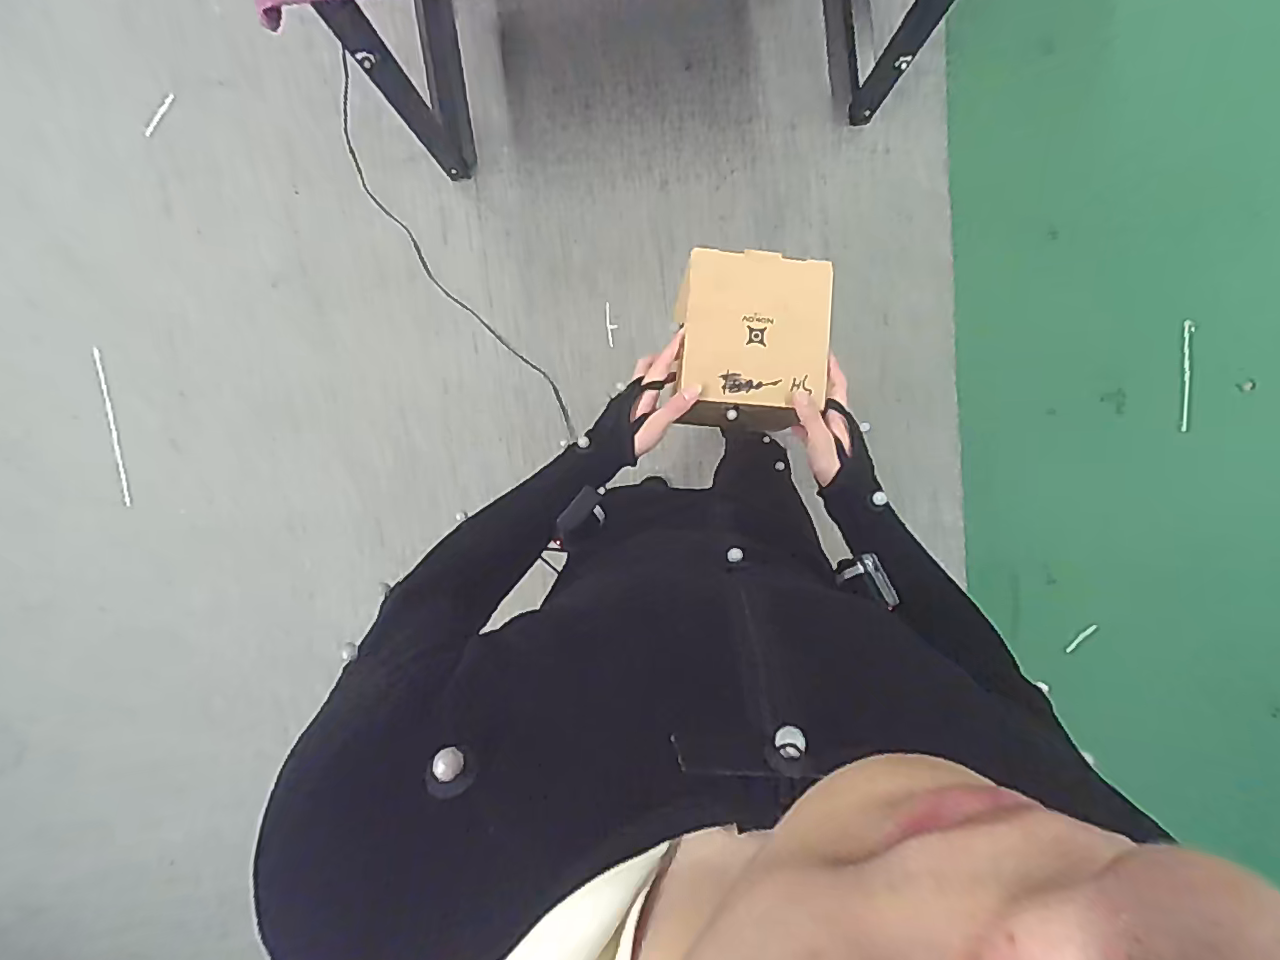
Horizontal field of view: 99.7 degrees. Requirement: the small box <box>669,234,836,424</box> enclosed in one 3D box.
[{"bbox_3d":[0.130,-0.177,0.683,0.168,0.176,0.179,5,86,-2],"label":"small box"}]
